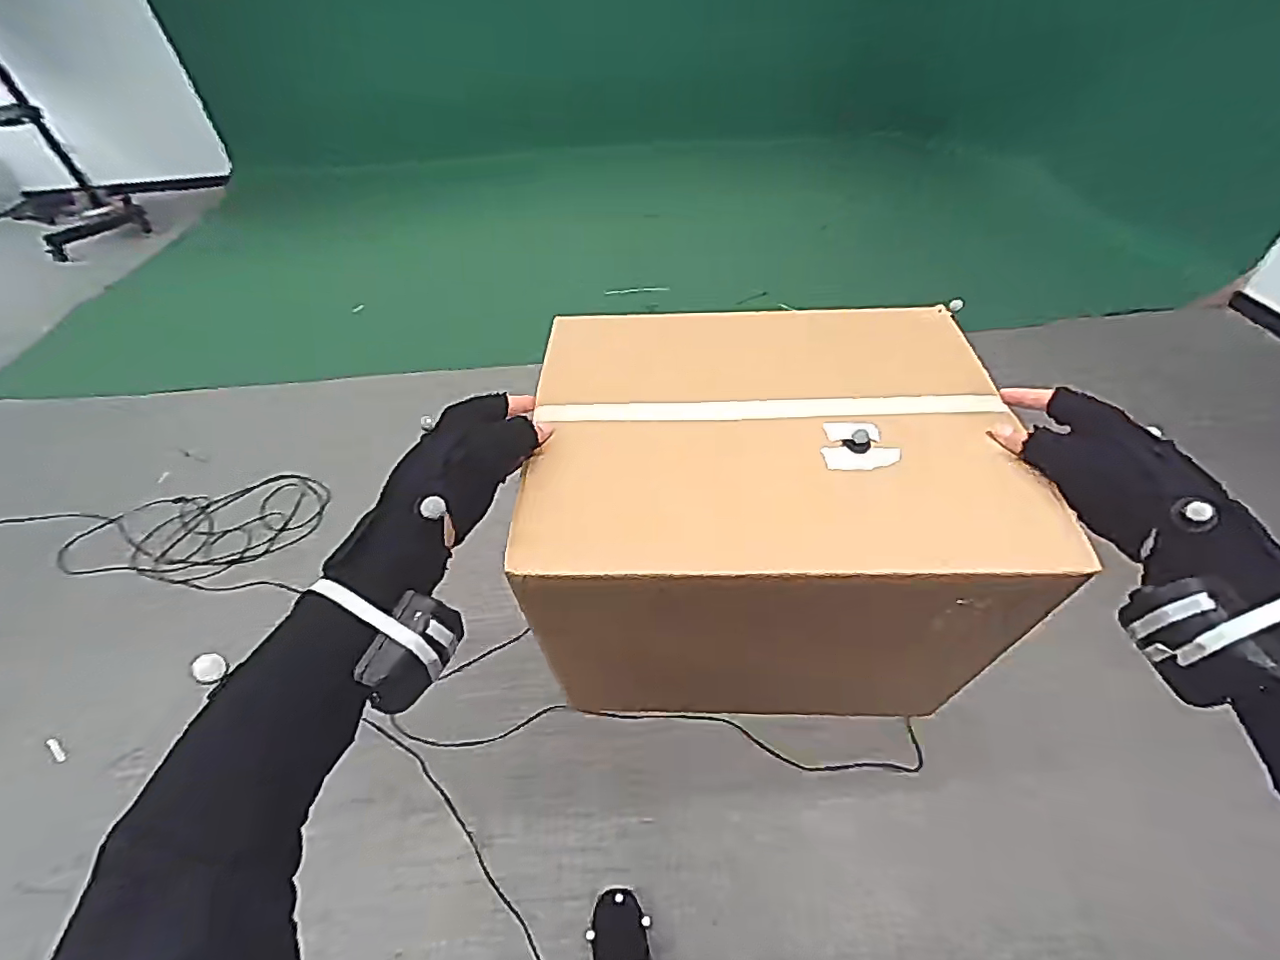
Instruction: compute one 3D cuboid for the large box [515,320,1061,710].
[{"bbox_3d":[0.109,0.045,0.598,0.408,0.320,0.320,-1,50,2],"label":"large box"}]
